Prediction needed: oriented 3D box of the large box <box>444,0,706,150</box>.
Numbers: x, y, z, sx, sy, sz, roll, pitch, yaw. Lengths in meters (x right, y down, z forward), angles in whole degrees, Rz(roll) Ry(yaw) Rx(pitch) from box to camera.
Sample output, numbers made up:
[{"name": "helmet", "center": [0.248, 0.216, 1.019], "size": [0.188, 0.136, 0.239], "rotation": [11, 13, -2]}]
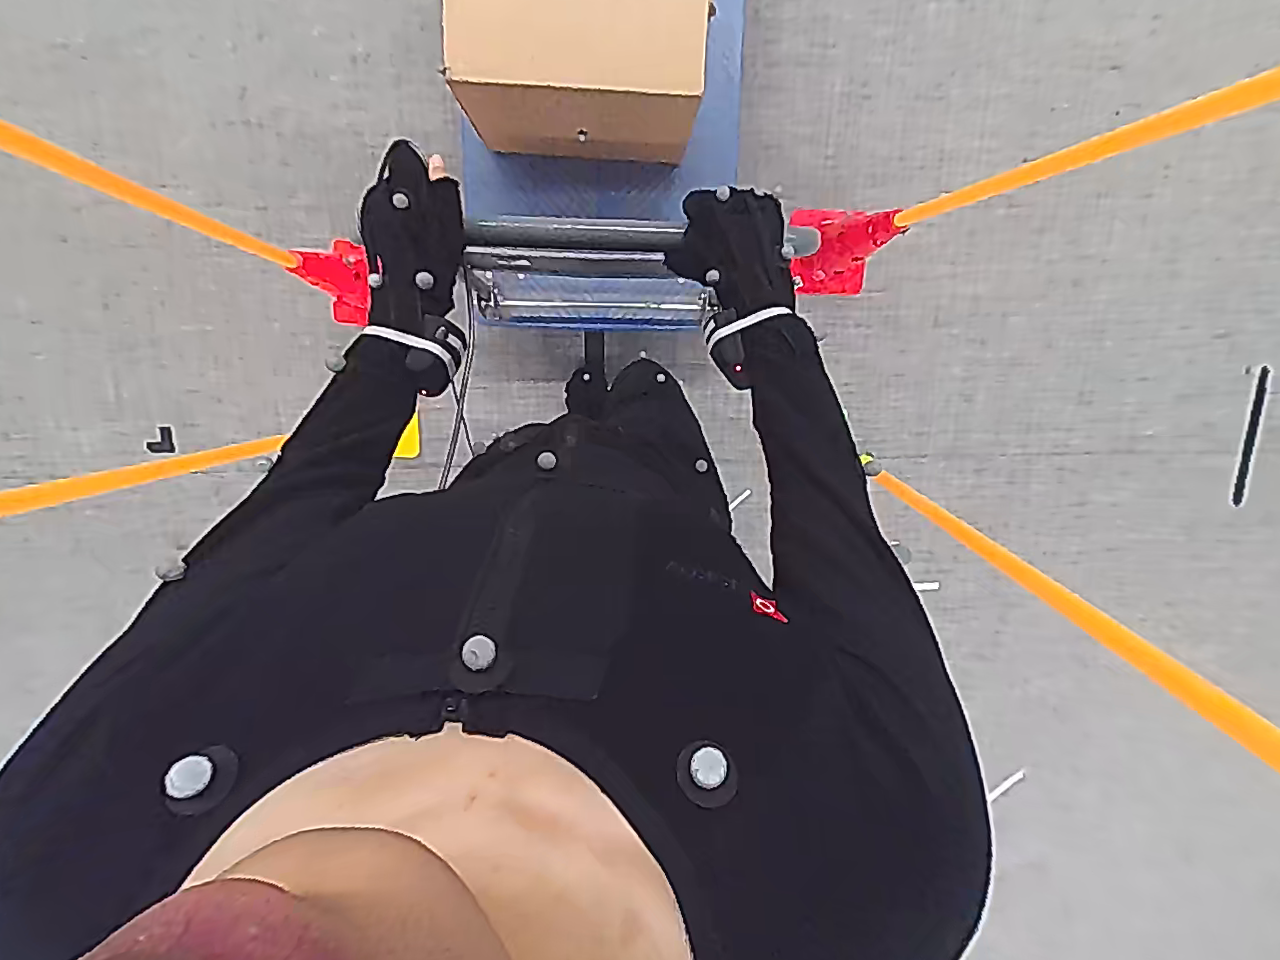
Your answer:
[{"name": "large box", "center": [-0.099, -0.807, 0.954], "size": [0.408, 0.320, 0.320], "rotation": [2, 103, -2]}]

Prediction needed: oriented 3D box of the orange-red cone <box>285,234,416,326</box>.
[{"name": "orange-red cone", "center": [-0.645, -0.455, 1.163], "size": [0.198, 0.360, 0.199], "rotation": [7, 101, -5]}]

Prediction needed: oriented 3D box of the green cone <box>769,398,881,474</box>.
[{"name": "green cone", "center": [0.465, -0.079, 1.295], "size": [0.202, 0.368, 0.200], "rotation": [3, 103, -4]}]

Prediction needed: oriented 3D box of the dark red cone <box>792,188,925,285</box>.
[{"name": "dark red cone", "center": [0.486, -0.548, 1.170], "size": [0.201, 0.394, 0.202], "rotation": [-1, 103, -4]}]
